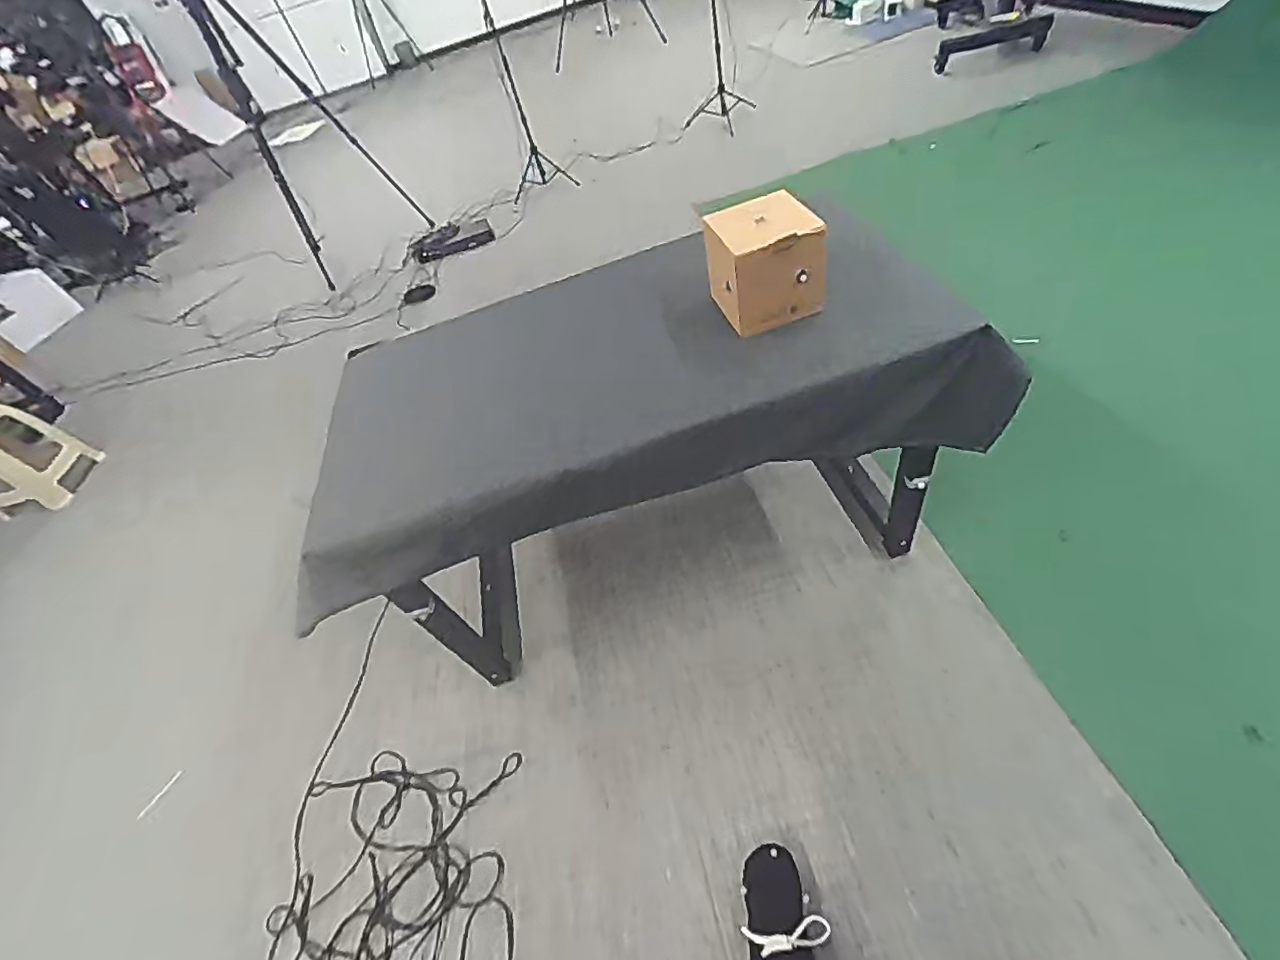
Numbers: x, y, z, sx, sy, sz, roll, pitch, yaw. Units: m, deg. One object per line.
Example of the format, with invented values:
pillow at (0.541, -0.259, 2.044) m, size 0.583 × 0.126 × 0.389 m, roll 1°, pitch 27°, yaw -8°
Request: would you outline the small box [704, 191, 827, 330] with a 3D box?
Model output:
small box at (0.232, -0.400, 1.005) m, size 0.168 × 0.176 × 0.179 m, roll -18°, pitch 47°, yaw -1°
